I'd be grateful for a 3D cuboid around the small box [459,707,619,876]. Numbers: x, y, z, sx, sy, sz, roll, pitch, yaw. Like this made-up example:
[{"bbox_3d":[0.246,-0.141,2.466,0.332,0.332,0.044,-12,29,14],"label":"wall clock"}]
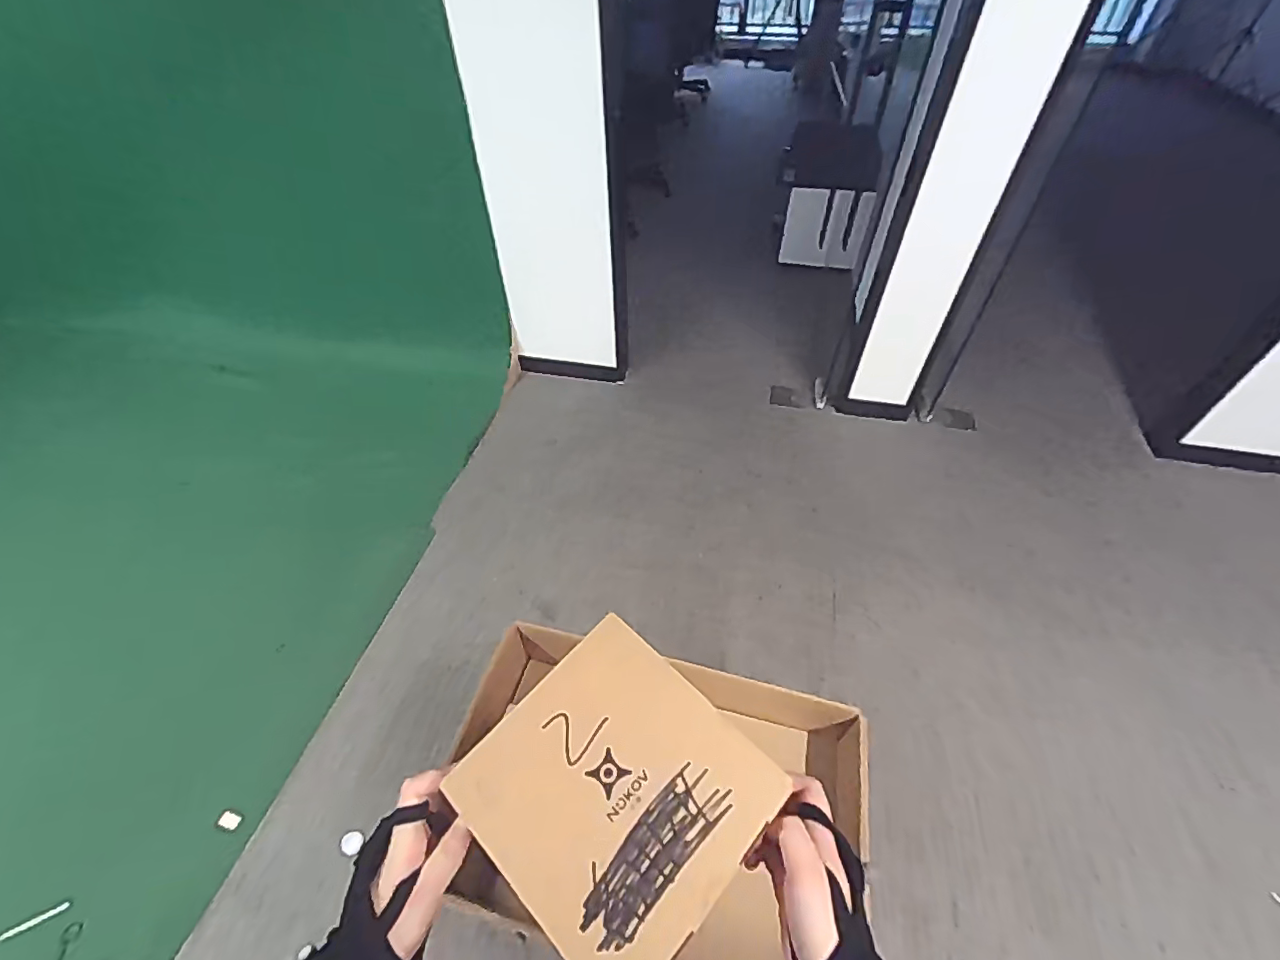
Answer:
[{"bbox_3d":[-0.141,0.480,0.830,0.179,0.176,0.168,11,49,12],"label":"small box"}]
